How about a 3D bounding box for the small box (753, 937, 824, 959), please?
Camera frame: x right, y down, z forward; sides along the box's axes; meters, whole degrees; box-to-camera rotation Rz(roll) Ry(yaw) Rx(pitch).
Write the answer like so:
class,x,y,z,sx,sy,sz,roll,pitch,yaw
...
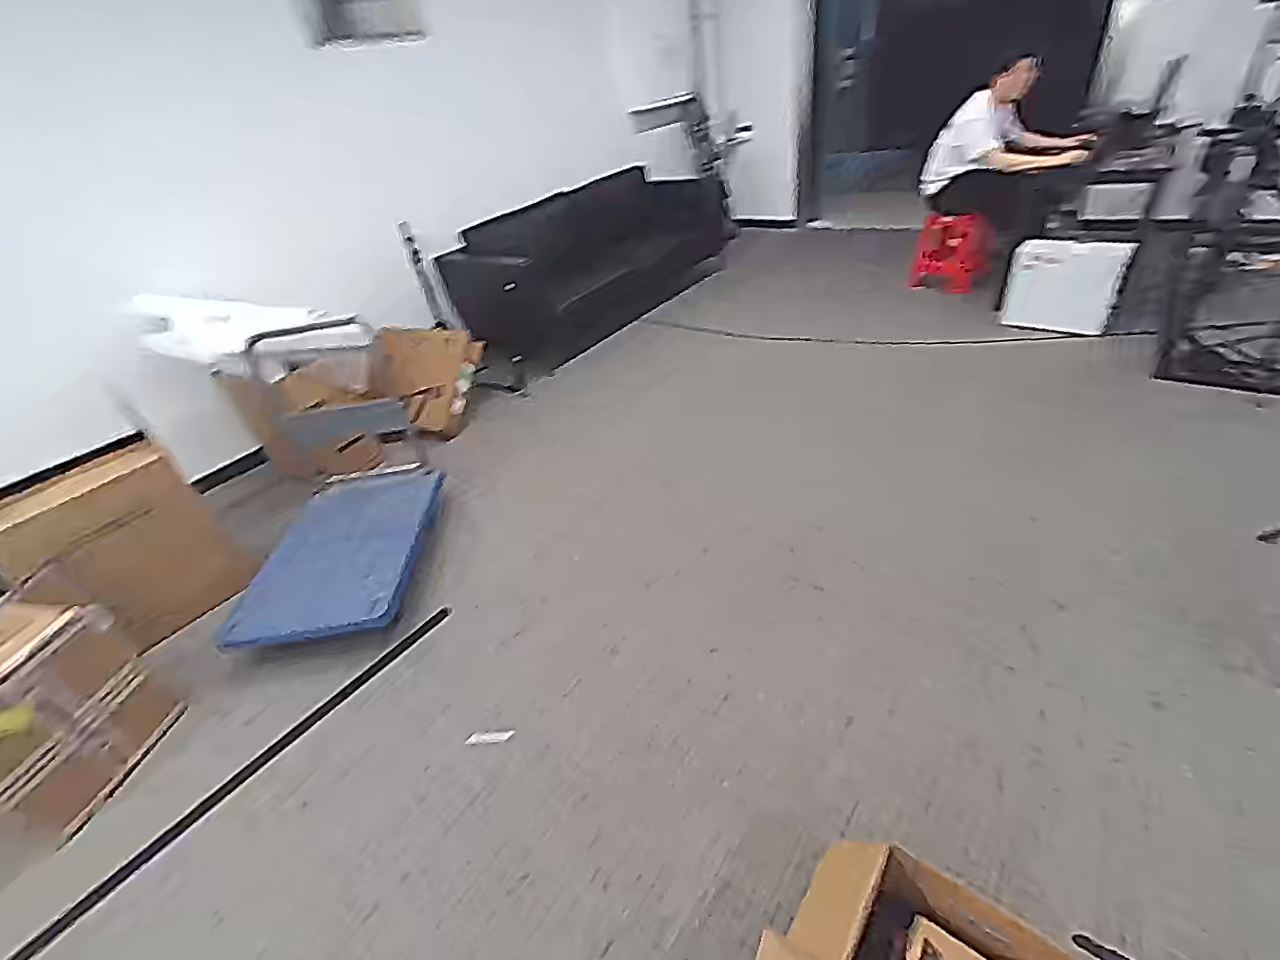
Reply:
class,x,y,z,sx,sy,sz,roll,pitch,yaw
small box,0.157,0.475,0.390,0.179,0.176,0.168,19,61,16
